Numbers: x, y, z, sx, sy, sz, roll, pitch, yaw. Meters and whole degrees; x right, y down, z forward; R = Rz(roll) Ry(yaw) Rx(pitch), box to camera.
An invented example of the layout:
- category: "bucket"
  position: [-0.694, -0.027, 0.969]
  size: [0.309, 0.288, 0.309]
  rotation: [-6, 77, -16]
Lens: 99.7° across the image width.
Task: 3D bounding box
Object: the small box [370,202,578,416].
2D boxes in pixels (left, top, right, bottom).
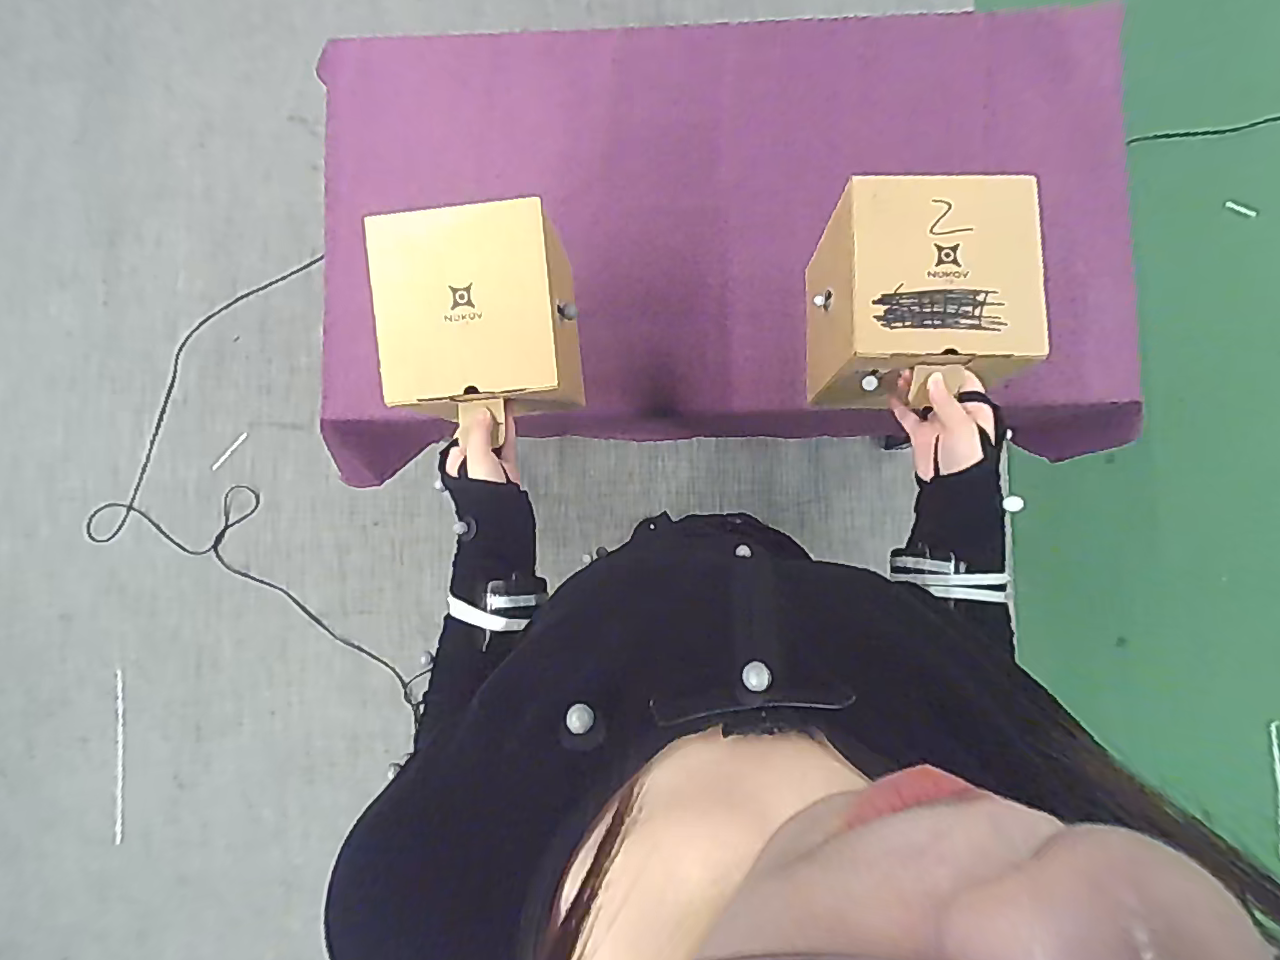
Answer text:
- category: "small box"
  position: [-0.166, -0.170, 0.590]
  size: [0.168, 0.176, 0.179]
  rotation: [-5, 92, 2]
